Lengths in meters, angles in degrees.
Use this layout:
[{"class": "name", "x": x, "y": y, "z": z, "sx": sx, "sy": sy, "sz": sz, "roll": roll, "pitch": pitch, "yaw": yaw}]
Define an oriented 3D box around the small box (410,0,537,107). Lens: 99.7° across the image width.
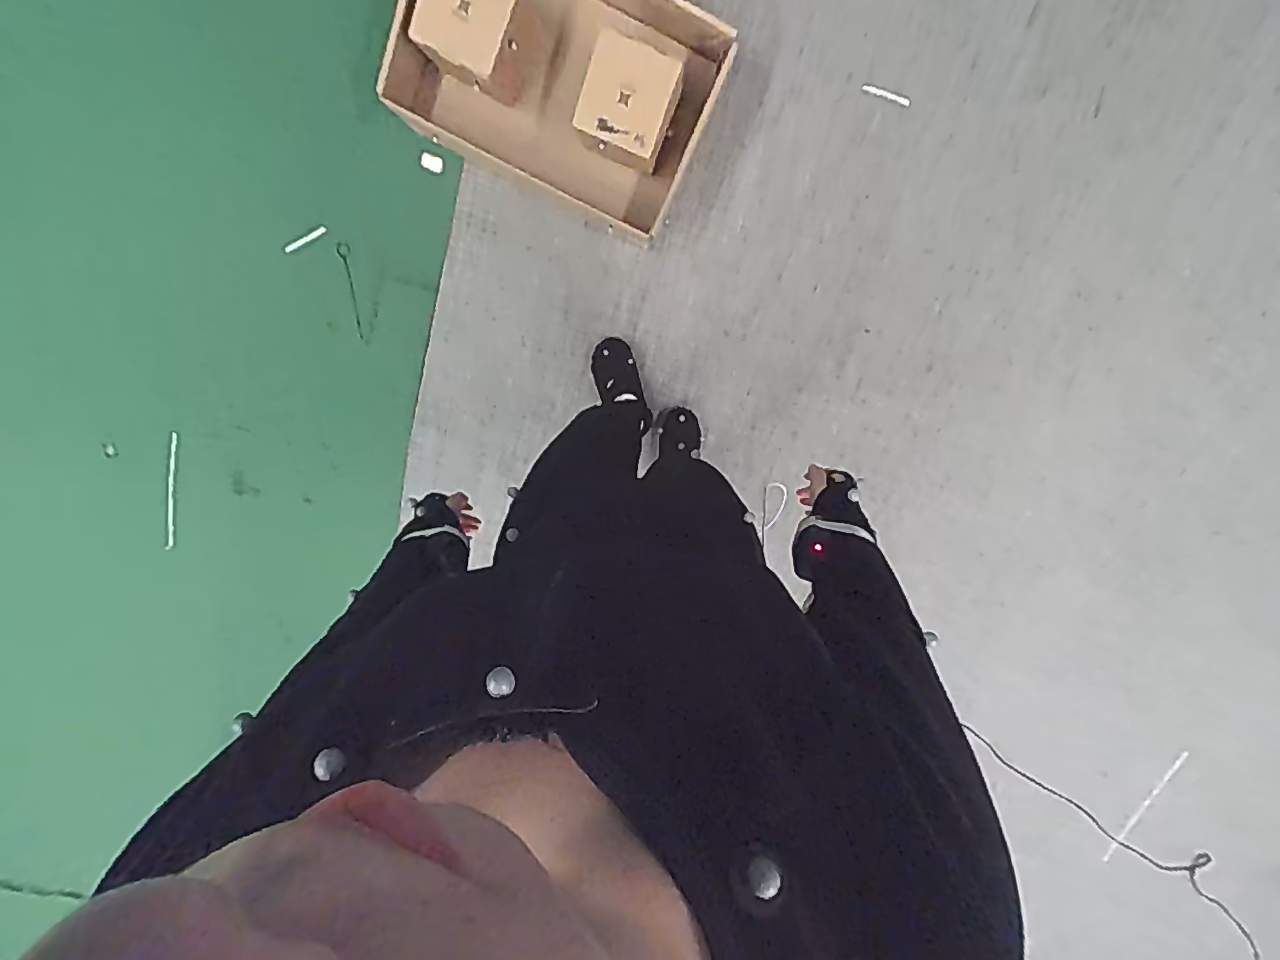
[{"class": "small box", "x": -0.320, "y": -0.888, "z": 1.073, "sx": 0.168, "sy": 0.176, "sz": 0.179, "roll": 26, "pitch": 107, "yaw": -8}]
